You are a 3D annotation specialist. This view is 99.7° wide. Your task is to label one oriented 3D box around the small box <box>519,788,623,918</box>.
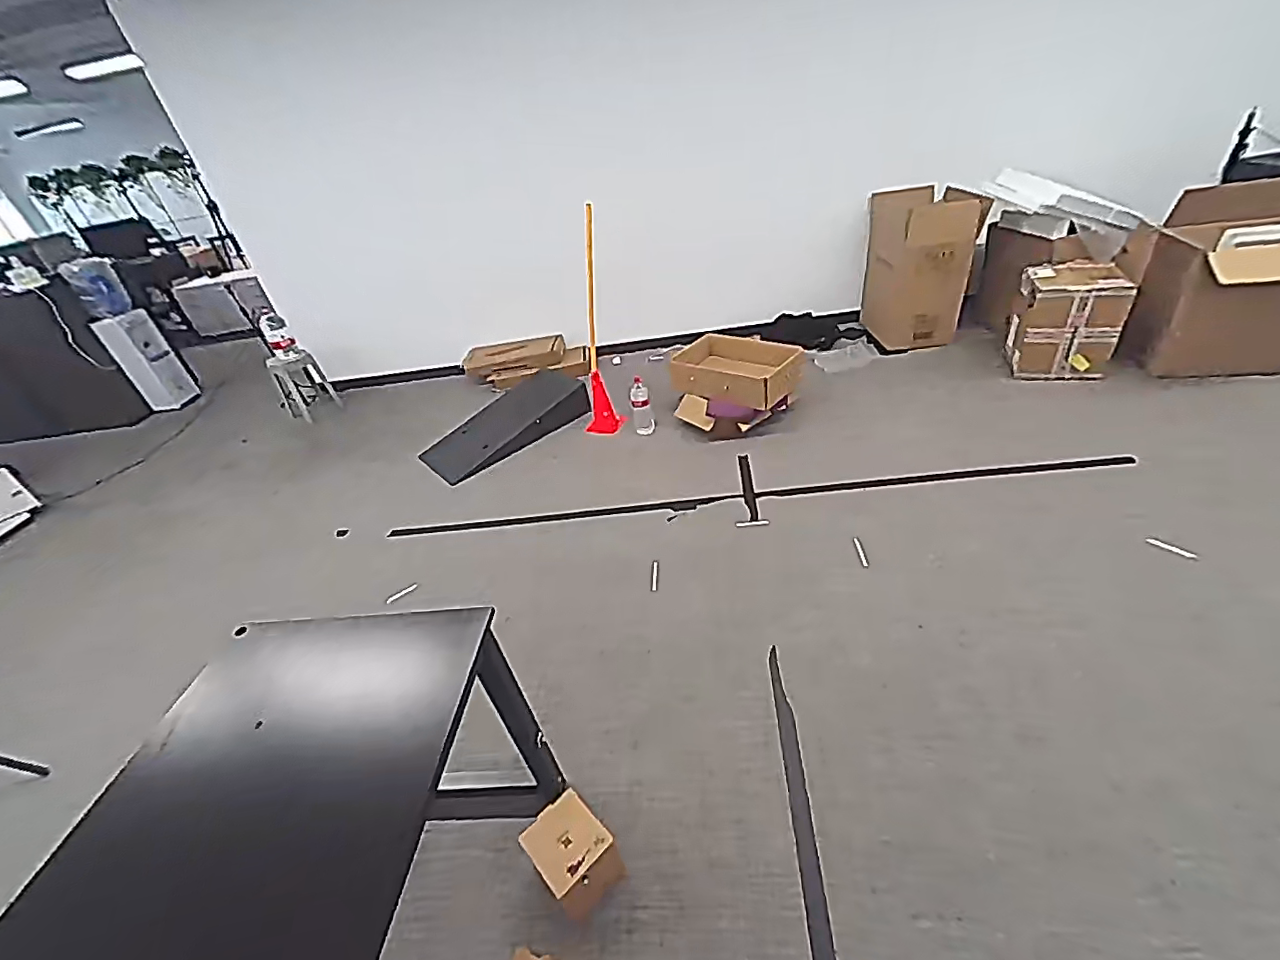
[{"bbox_3d":[-0.165,0.912,1.322,0.168,0.176,0.179,-35,41,-29],"label":"small box"}]
